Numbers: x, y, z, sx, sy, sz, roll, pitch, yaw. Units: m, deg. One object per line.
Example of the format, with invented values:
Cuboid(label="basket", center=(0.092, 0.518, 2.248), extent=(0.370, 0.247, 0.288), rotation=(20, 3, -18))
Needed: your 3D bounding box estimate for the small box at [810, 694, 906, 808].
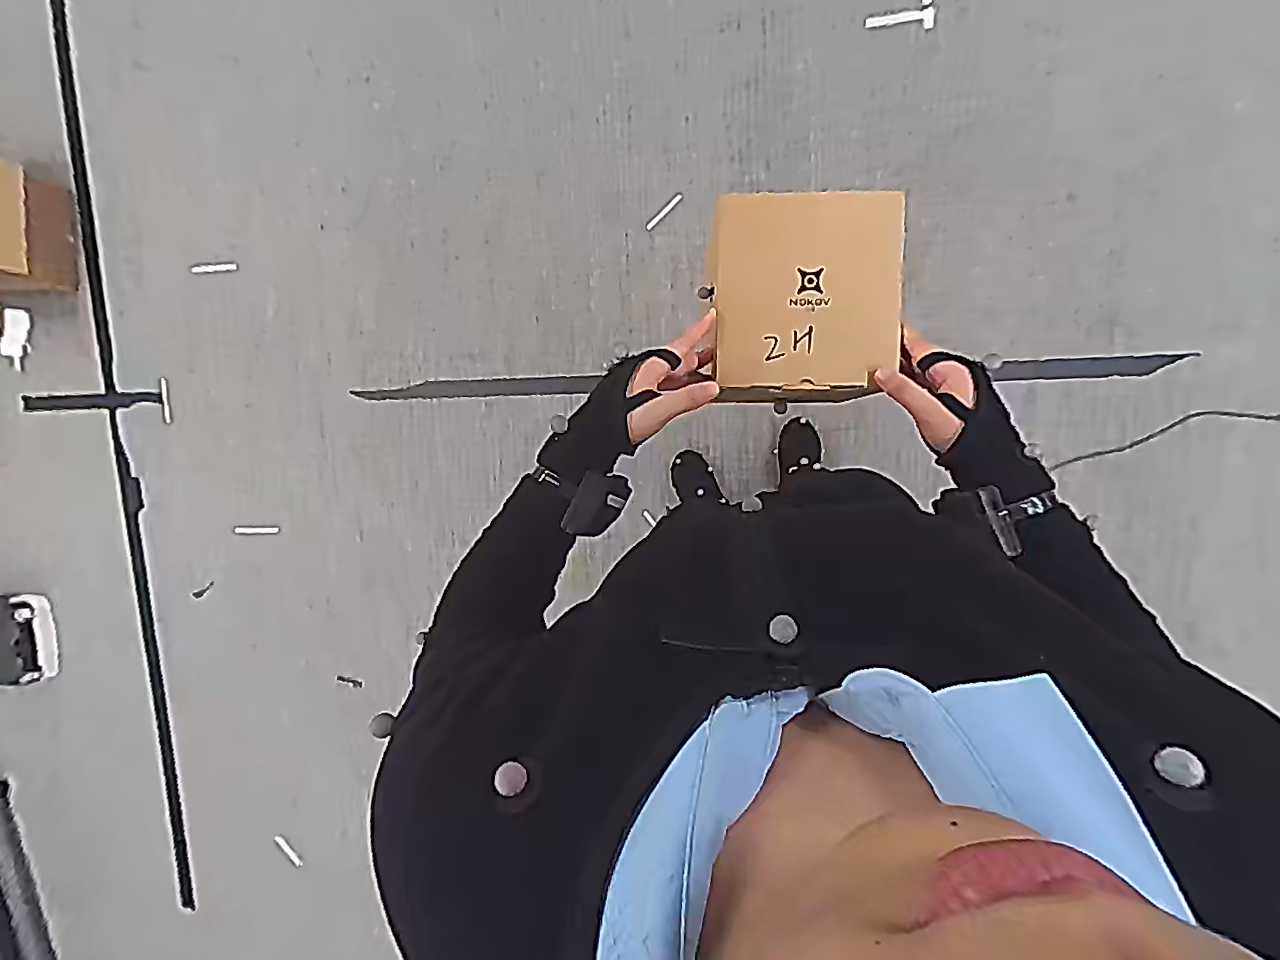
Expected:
Cuboid(label="small box", center=(0.494, 0.618, 1.244), extent=(0.168, 0.176, 0.179), rotation=(-7, 94, 8))

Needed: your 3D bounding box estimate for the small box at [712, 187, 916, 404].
Cuboid(label="small box", center=(0.163, -0.174, 0.559), extent=(0.168, 0.176, 0.179), rotation=(0, 94, 4))
